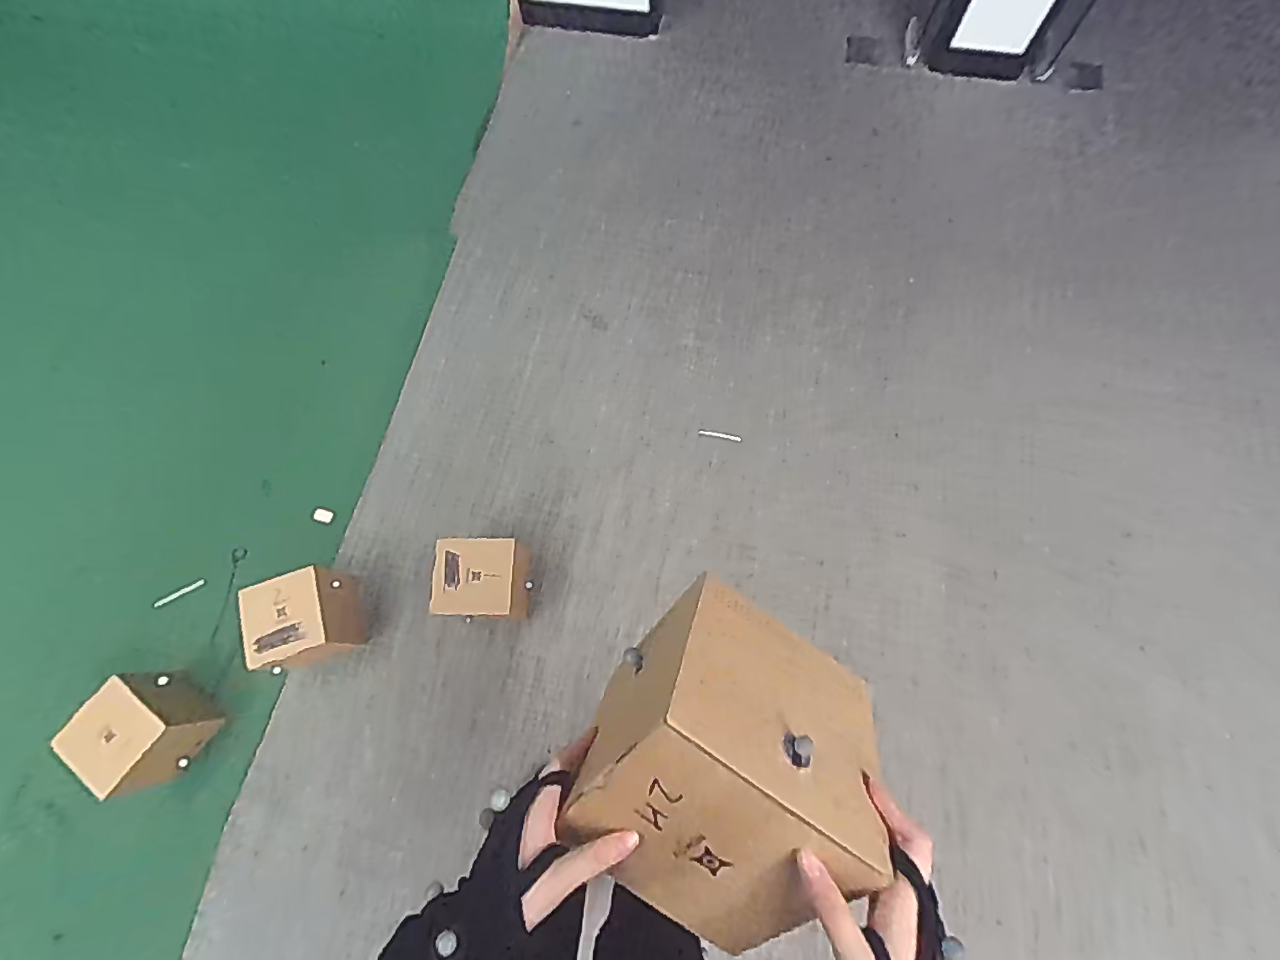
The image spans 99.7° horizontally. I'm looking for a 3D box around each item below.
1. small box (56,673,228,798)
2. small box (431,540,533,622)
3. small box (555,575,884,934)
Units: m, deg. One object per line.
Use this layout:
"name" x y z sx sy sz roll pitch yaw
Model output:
"small box" -1.055 0.537 1.161 0.179 0.176 0.168 35 76 12
"small box" -0.354 0.235 1.240 0.179 0.176 0.168 0 72 1
"small box" 0.066 0.212 0.447 0.179 0.176 0.168 35 118 -1
